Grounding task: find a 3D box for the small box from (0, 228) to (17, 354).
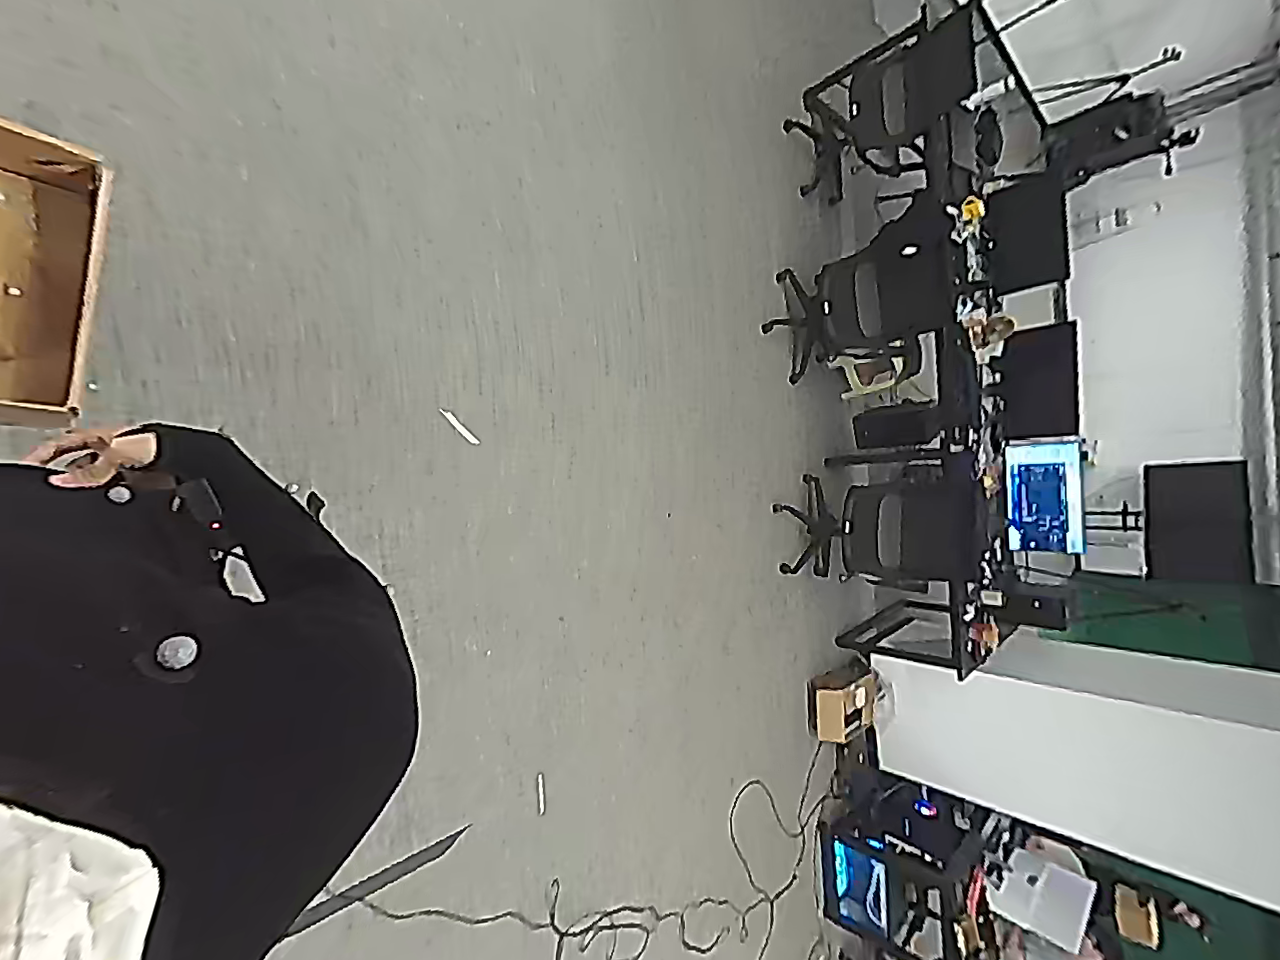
[{"bbox_3d":[-0.970,-0.280,0.720,0.168,0.176,0.179,4,84,-43],"label":"small box"}]
